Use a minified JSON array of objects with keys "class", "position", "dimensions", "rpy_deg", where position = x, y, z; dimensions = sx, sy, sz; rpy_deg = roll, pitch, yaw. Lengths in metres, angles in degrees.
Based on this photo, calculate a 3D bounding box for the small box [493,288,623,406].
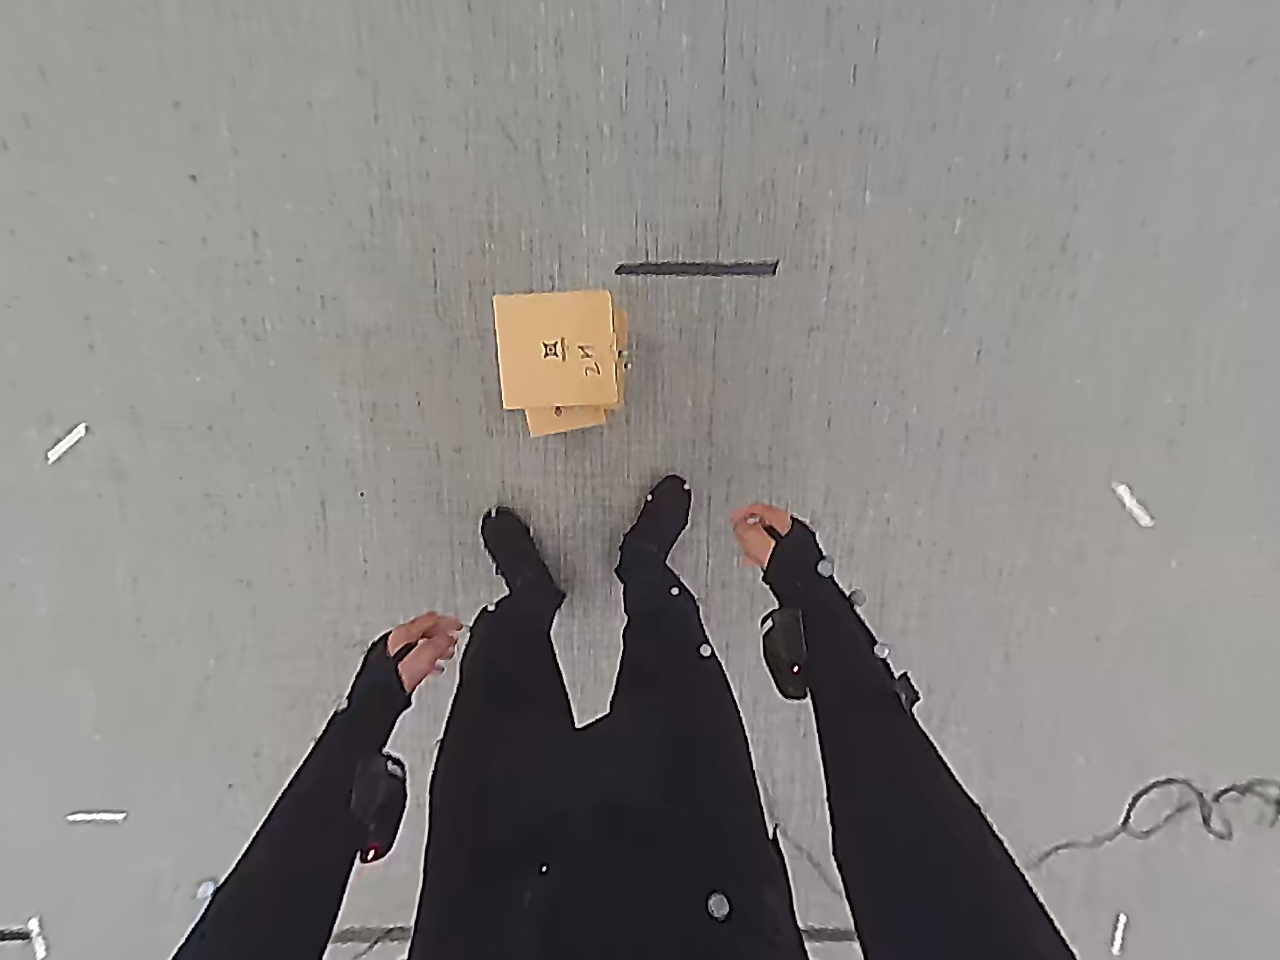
[{"class":"small box","position":[-0.121,-0.203,0.862],"dimensions":[0.179,0.176,0.168],"rpy_deg":[-3,100,0]}]

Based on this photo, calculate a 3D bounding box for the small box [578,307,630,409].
[{"class":"small box","position":[-0.108,-0.231,1.025],"dimensions":[0.168,0.176,0.179],"rpy_deg":[5,100,-1]}]

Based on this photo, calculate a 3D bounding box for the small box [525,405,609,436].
[{"class":"small box","position":[-0.164,-0.202,1.194],"dimensions":[0.168,0.176,0.179],"rpy_deg":[-10,100,1]}]
